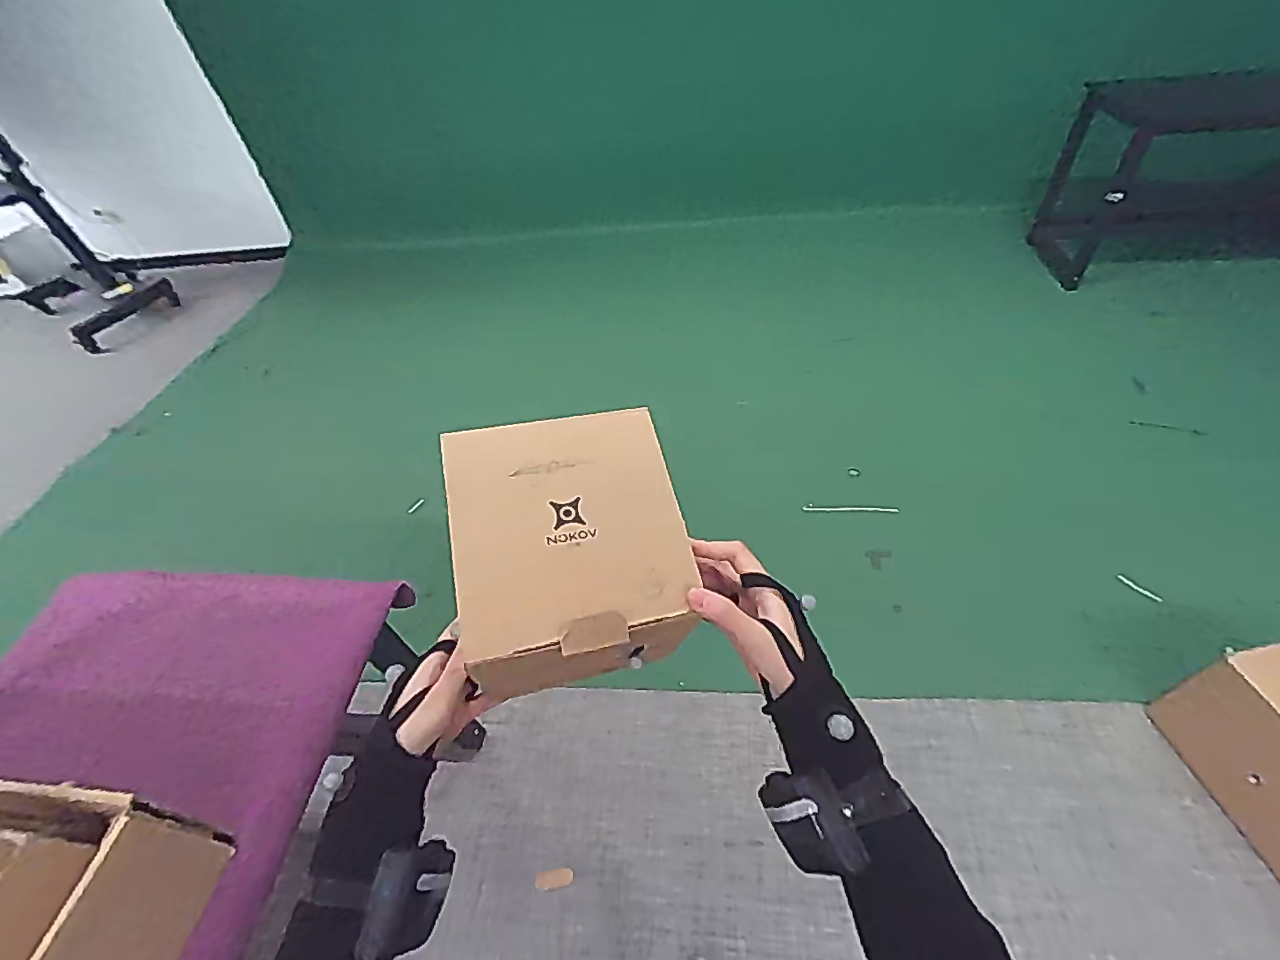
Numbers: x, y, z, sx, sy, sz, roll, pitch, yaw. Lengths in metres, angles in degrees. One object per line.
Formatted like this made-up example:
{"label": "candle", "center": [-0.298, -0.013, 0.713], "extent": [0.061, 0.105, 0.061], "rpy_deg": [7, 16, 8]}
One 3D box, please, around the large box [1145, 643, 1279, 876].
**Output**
{"label": "large box", "center": [1.427, 0.588, 1.121], "extent": [0.320, 0.320, 0.408], "rpy_deg": [-10, 45, -3]}

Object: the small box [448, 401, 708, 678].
{"label": "small box", "center": [-0.058, 0.059, 0.458], "extent": [0.168, 0.176, 0.179], "rpy_deg": [-8, 62, -13]}
